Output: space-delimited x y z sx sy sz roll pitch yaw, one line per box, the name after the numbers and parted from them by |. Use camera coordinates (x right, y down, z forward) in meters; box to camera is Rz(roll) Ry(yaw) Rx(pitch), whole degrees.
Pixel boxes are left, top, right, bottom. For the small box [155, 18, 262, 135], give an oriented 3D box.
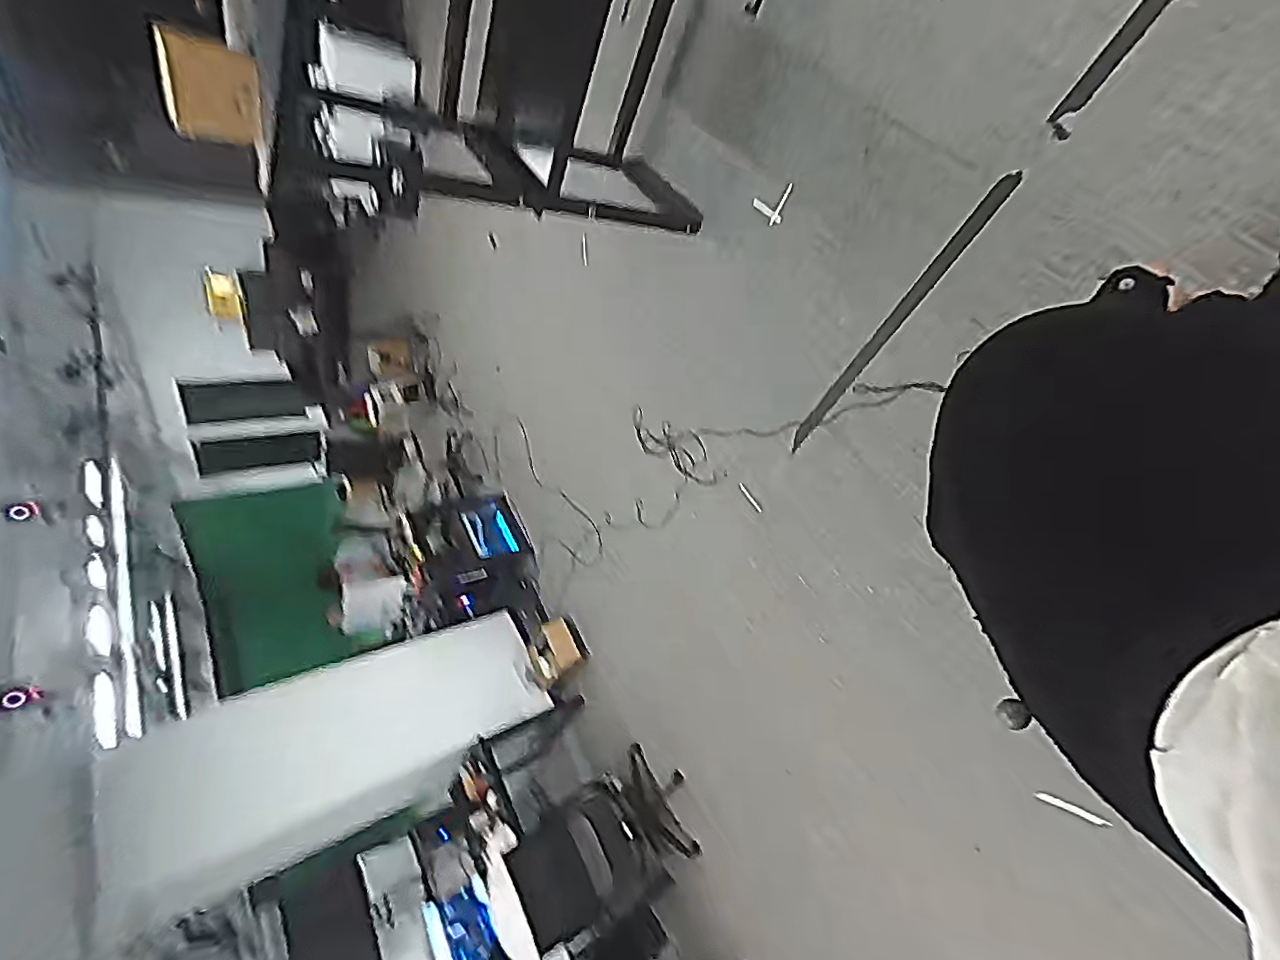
-0.993 -0.927 1.253 0.179 0.176 0.168 48 133 33 | small box
